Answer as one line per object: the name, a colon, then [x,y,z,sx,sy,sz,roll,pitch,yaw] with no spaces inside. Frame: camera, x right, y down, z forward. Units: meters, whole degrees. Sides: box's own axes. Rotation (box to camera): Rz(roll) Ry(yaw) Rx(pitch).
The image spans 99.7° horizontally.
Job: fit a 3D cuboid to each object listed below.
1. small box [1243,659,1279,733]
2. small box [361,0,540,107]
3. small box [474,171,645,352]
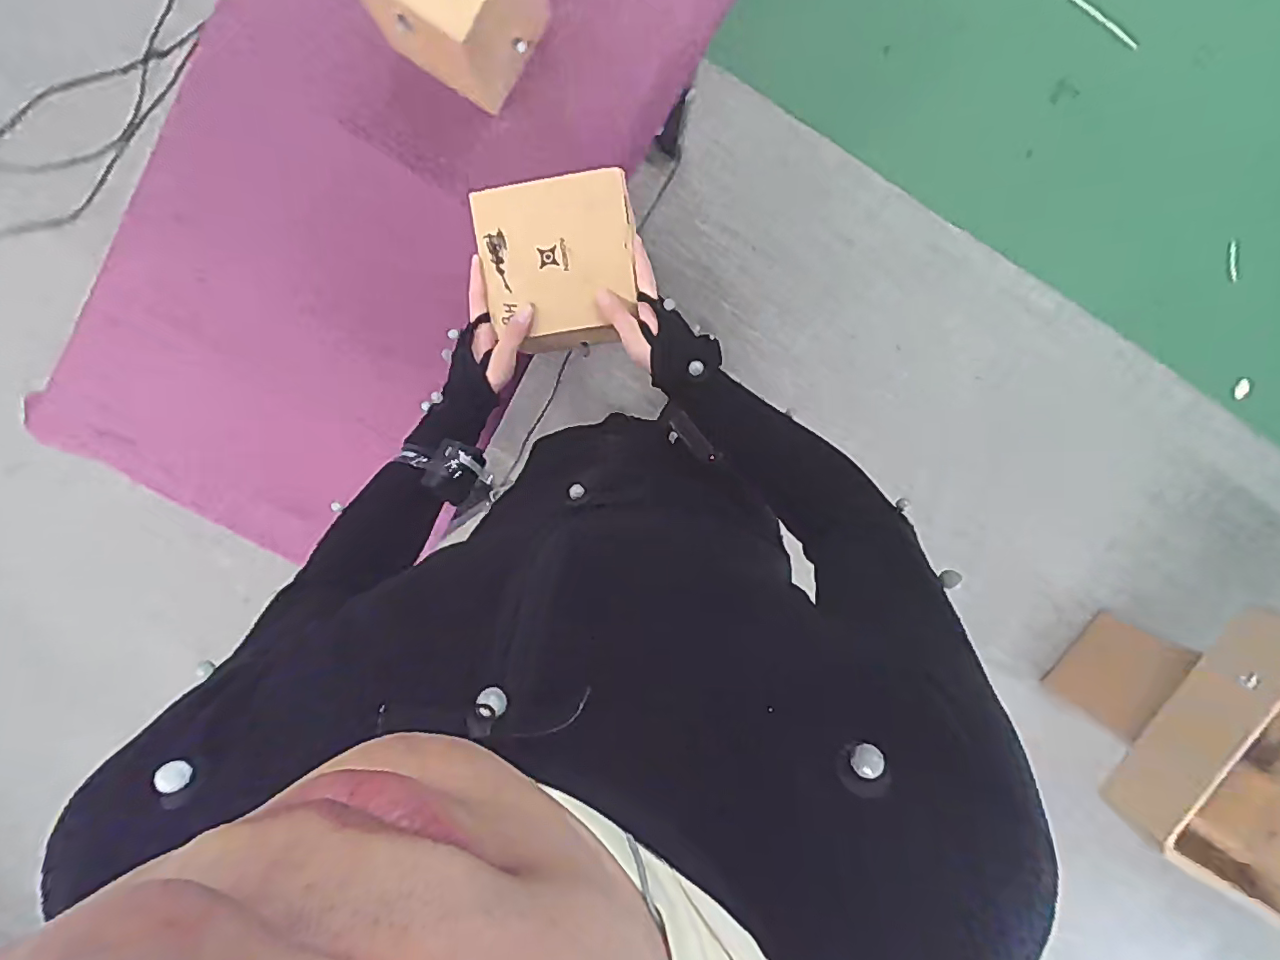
small box: [1.554,0.525,1.221,0.168,0.176,0.179,30,98,-4]
small box: [-0.256,-0.649,0.717,0.179,0.176,0.168,32,96,-5]
small box: [-0.087,-0.259,0.680,0.179,0.176,0.168,-6,97,4]
